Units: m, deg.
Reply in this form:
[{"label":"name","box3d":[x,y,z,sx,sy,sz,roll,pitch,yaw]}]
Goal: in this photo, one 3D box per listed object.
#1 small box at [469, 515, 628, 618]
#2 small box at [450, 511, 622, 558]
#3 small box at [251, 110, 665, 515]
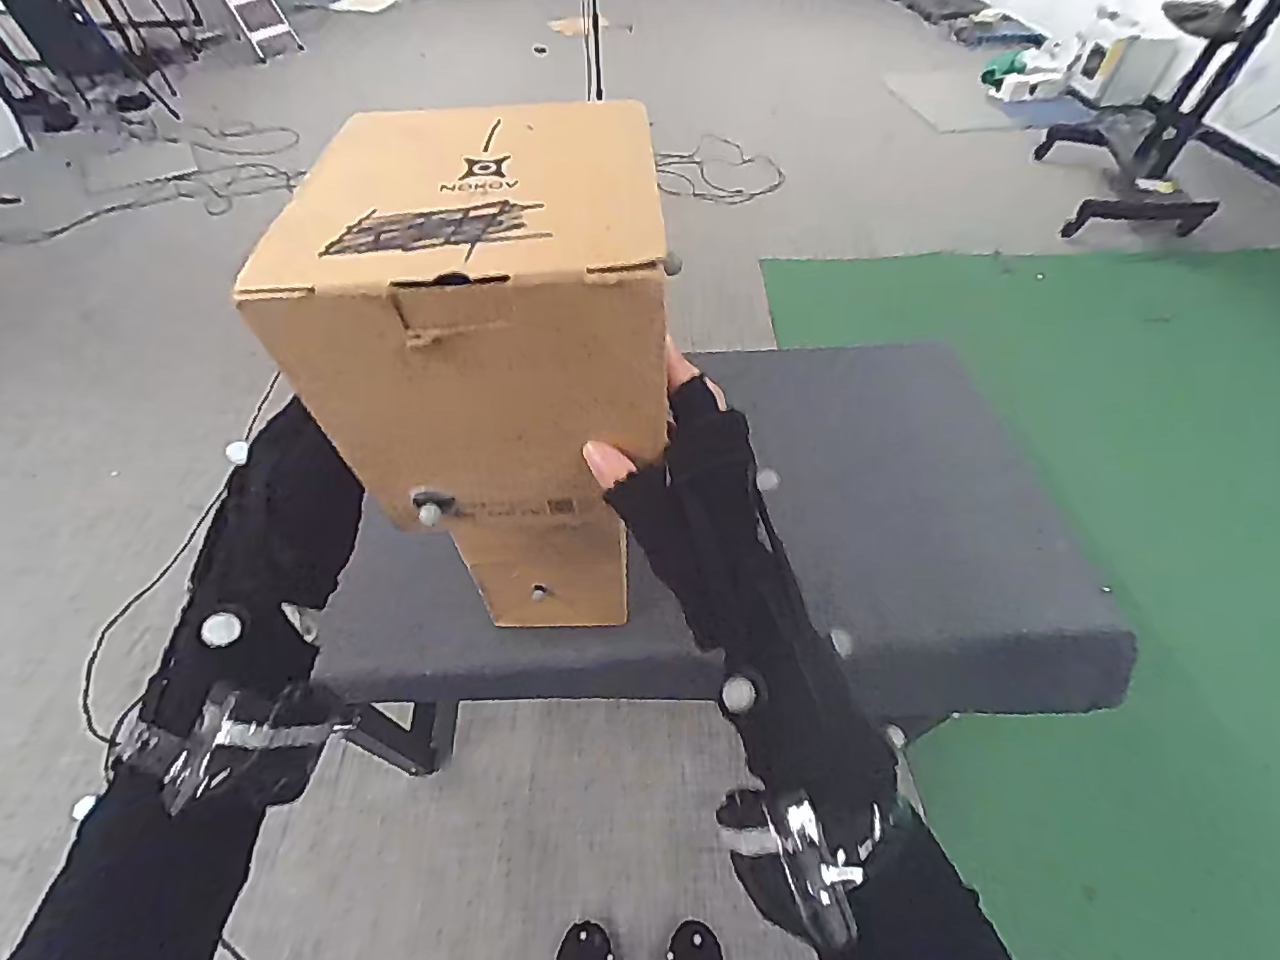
[{"label":"small box","box3d":[-0.107,0.075,0.723,0.179,0.176,0.168,-1,51,0]},{"label":"small box","box3d":[-0.107,-0.026,0.595,0.179,0.176,0.168,-2,49,0]},{"label":"small box","box3d":[-0.071,-0.089,0.321,0.168,0.176,0.179,-2,52,0]}]
